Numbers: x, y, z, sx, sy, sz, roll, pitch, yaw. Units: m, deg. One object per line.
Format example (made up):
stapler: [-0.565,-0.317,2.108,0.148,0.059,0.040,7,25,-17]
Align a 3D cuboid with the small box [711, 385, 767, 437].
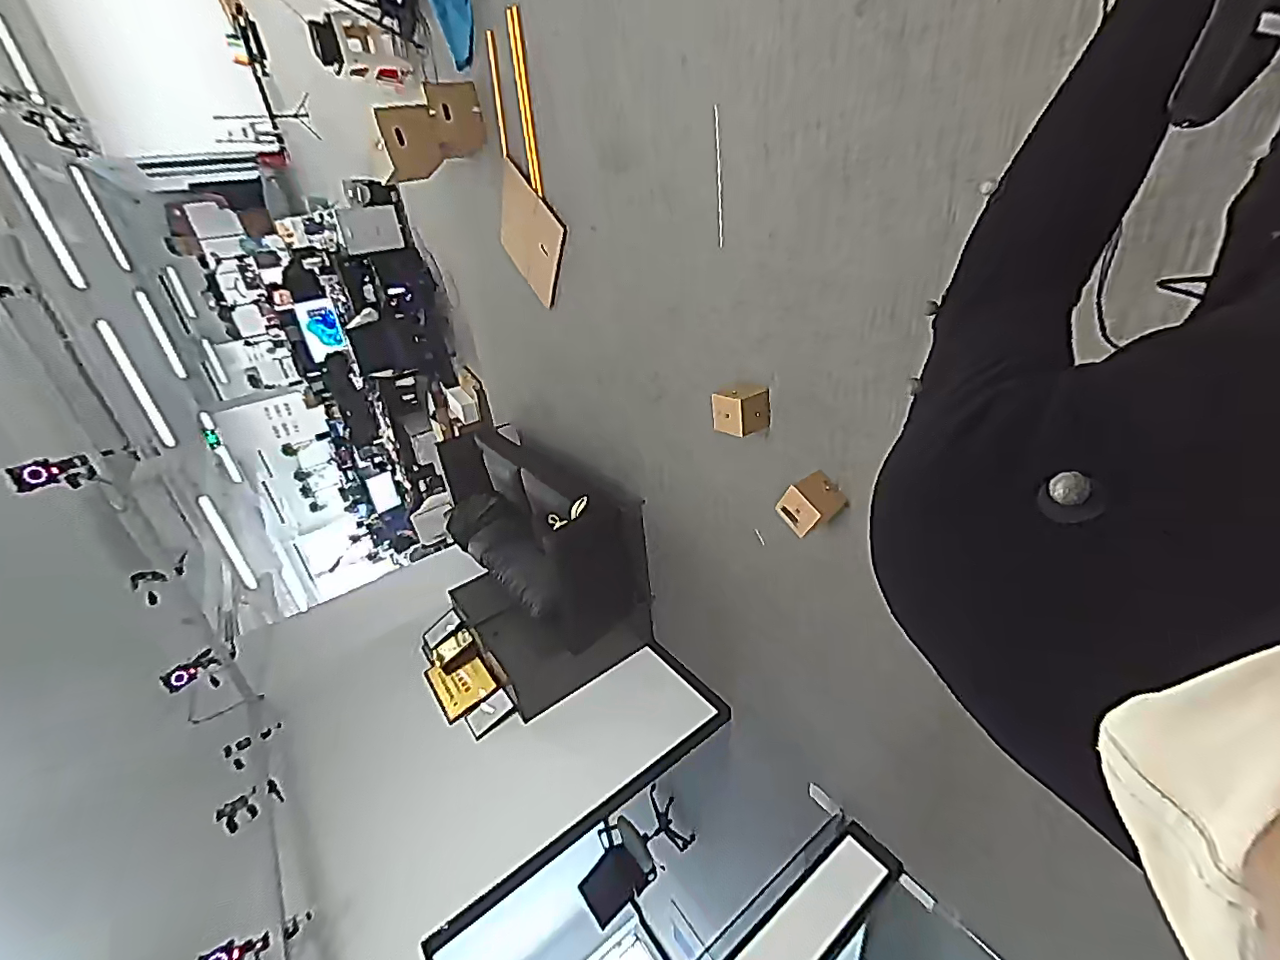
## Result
small box: [0.427,-0.299,2.297,0.179,0.176,0.168,26,131,50]
